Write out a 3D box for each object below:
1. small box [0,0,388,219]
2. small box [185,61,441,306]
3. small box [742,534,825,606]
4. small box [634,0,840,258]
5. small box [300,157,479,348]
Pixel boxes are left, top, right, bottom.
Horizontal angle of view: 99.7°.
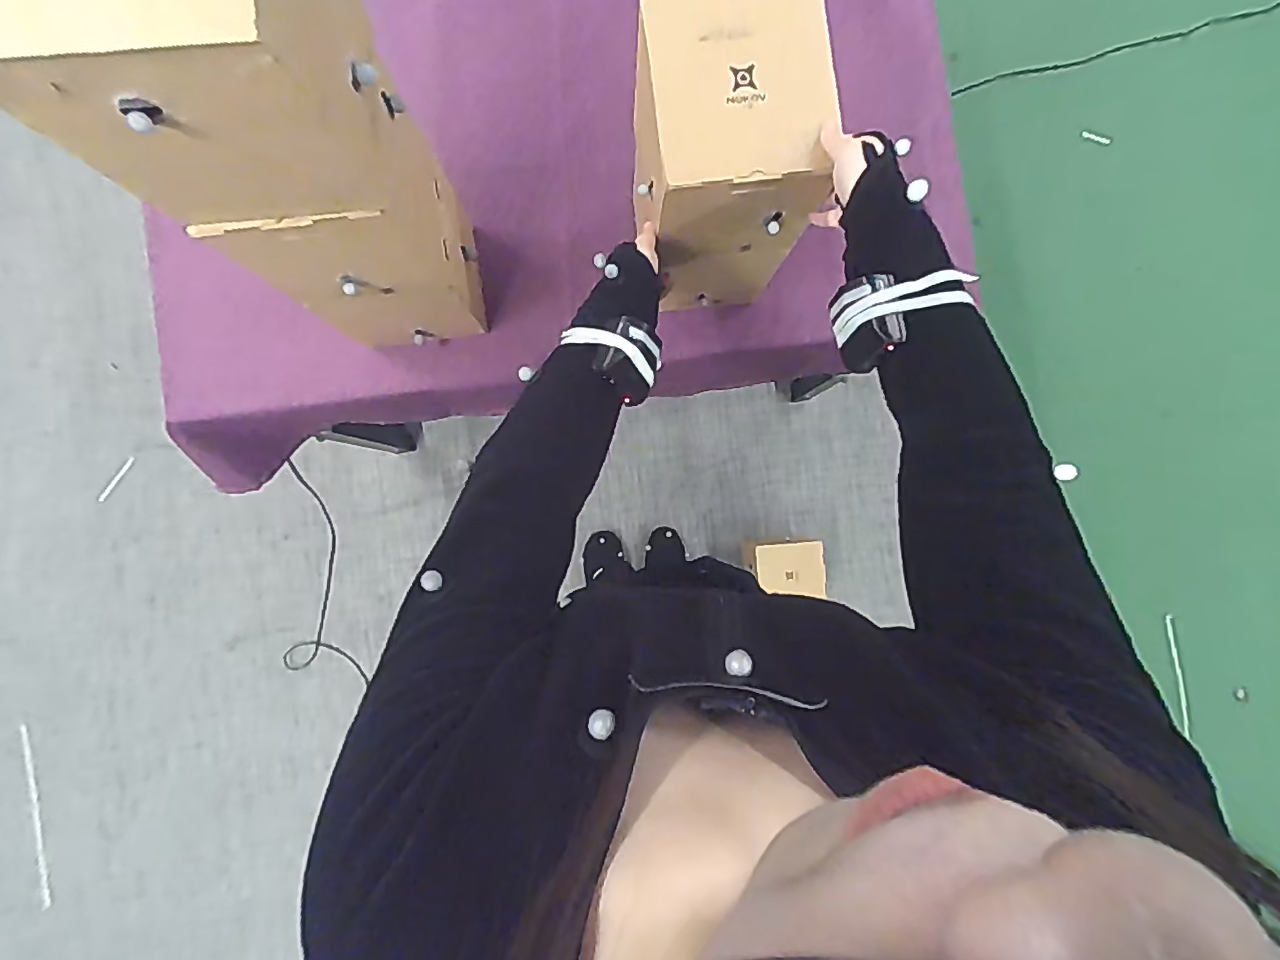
[{"bbox_3d":[-0.304,-0.305,0.379,0.179,0.176,0.168,-6,88,-3],"label":"small box"},{"bbox_3d":[-0.315,-0.296,0.543,0.168,0.176,0.179,-8,88,-2],"label":"small box"},{"bbox_3d":[0.374,0.235,1.444,0.179,0.176,0.168,-5,89,-3],"label":"small box"},{"bbox_3d":[0.086,-0.347,0.560,0.168,0.176,0.179,-8,89,-3],"label":"small box"},{"bbox_3d":[-0.320,-0.285,0.708,0.179,0.176,0.168,-9,88,-3],"label":"small box"}]
